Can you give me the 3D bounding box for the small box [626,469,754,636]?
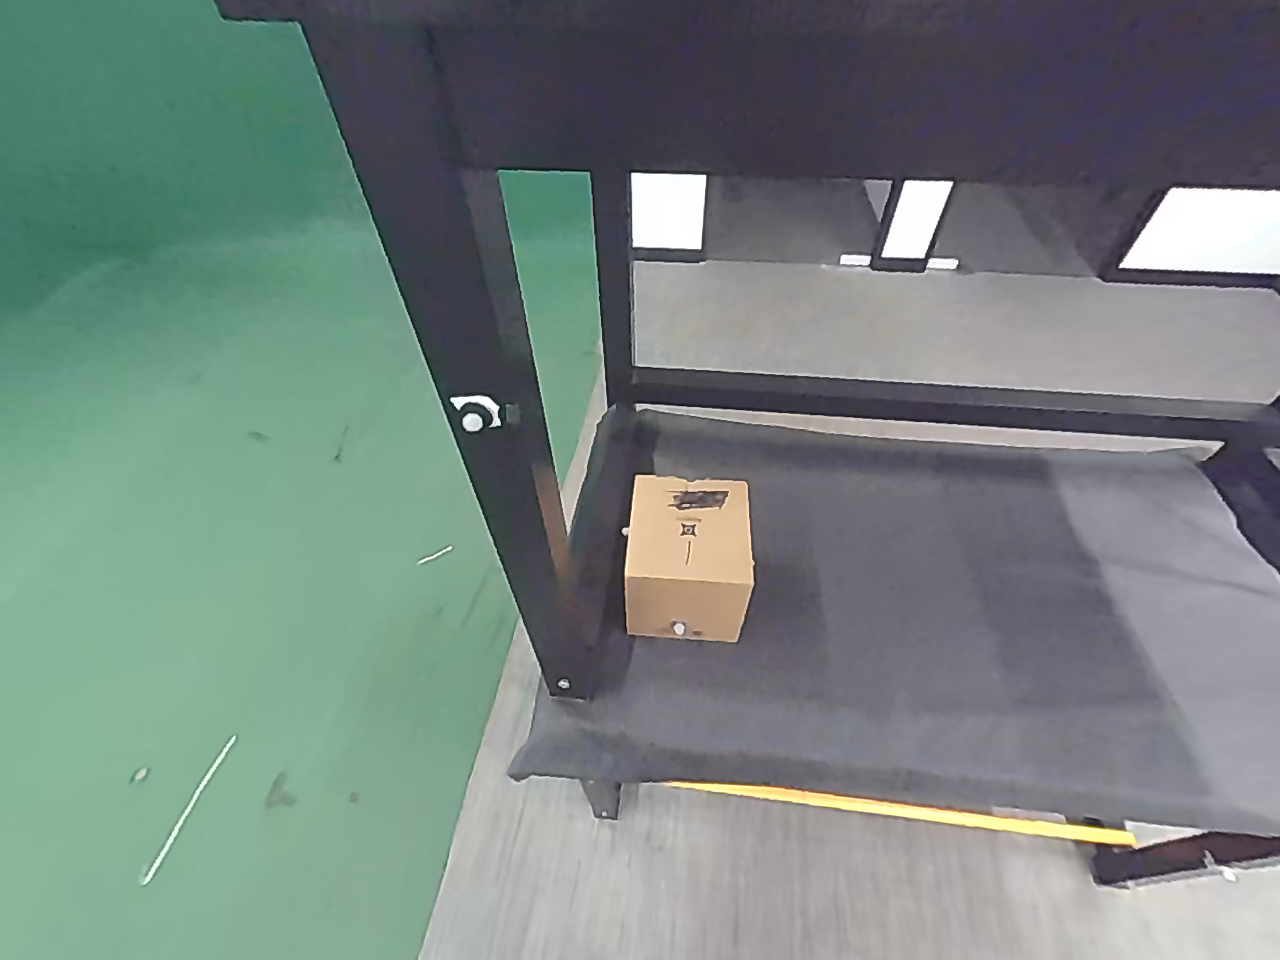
[{"bbox_3d":[0.069,0.106,0.795,0.168,0.176,0.179,3,48,4],"label":"small box"}]
